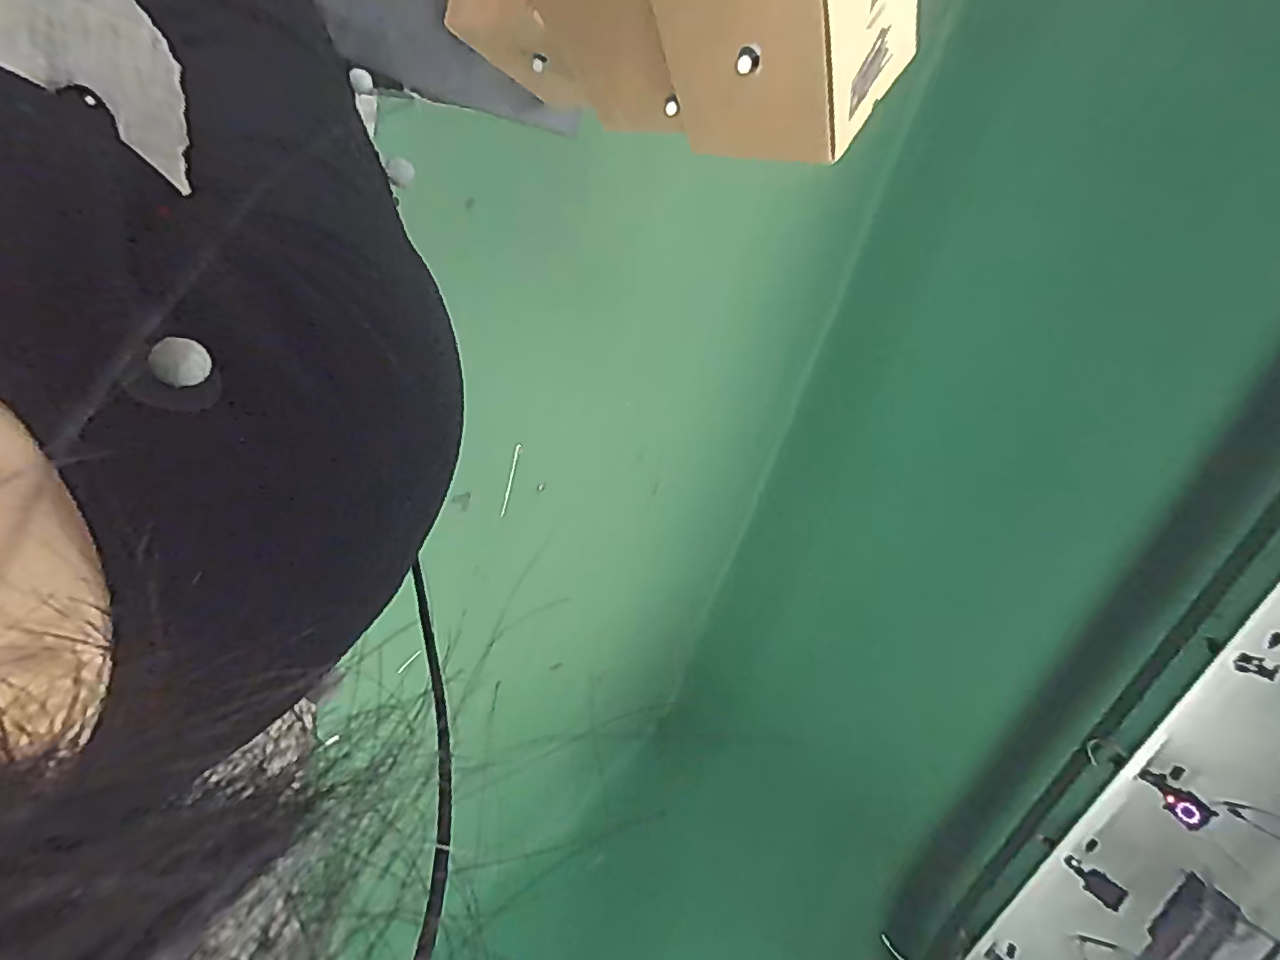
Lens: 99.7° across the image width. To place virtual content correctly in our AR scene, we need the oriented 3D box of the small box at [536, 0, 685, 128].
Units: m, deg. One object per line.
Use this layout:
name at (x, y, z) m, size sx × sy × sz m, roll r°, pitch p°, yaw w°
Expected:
small box at (0.018, -0.509, 0.580) m, size 0.168 × 0.176 × 0.179 m, roll -60°, pitch 148°, yaw -4°

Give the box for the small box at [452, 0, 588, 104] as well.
small box at (-0.101, -0.587, 0.661) m, size 0.179 × 0.176 × 0.168 m, roll -1°, pitch 114°, yaw -53°

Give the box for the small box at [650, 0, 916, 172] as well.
small box at (0.133, -0.423, 0.497) m, size 0.168 × 0.176 × 0.179 m, roll -55°, pitch 146°, yaw -12°
